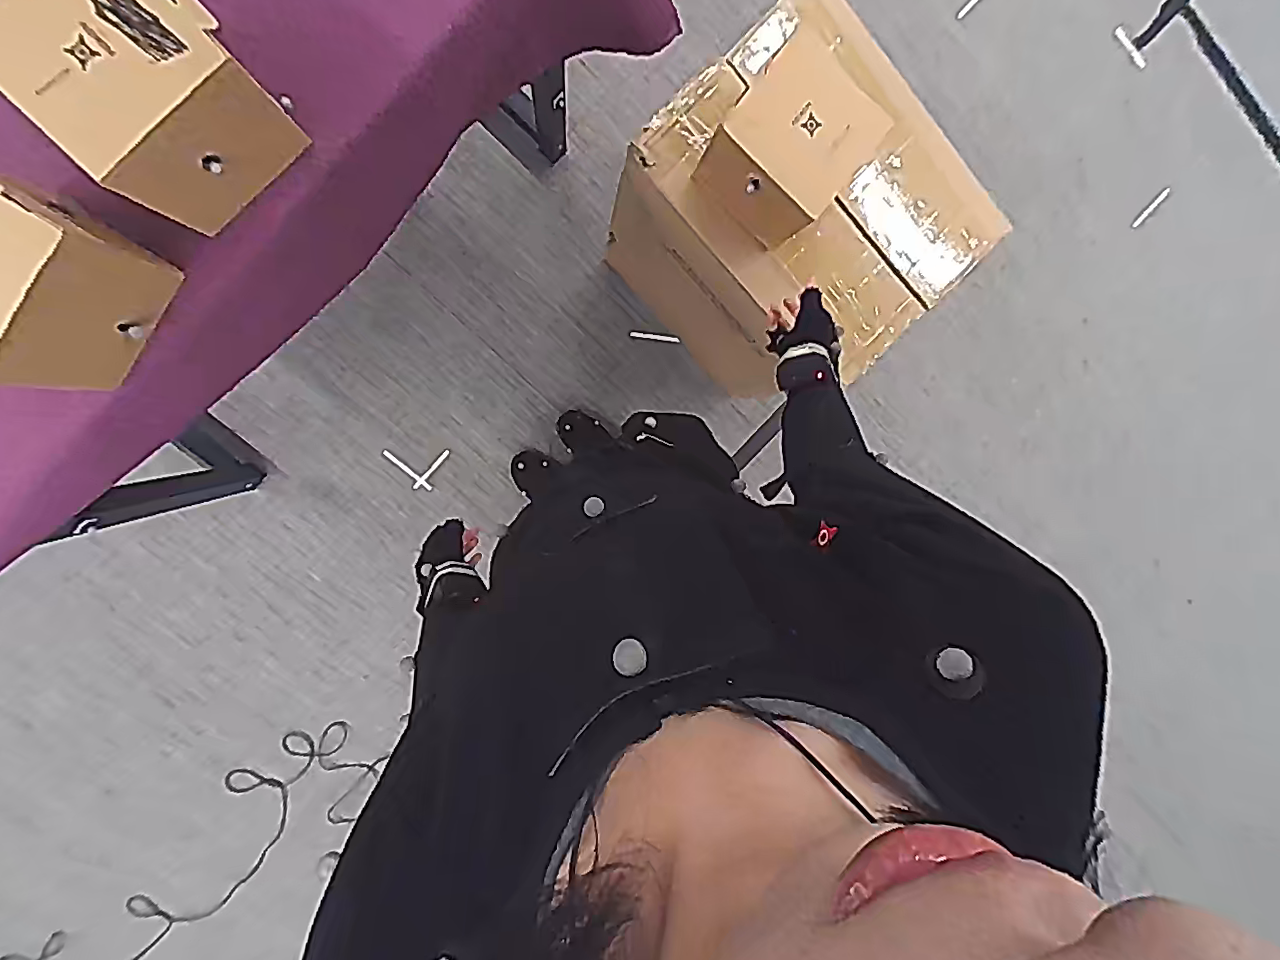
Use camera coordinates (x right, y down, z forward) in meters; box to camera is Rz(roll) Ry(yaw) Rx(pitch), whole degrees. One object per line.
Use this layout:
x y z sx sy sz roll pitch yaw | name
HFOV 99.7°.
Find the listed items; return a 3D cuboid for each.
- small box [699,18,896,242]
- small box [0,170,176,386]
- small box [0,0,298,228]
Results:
0.208 -0.473 0.768 0.179 0.176 0.168 38 94 -11 | small box
-0.662 -0.220 0.580 0.168 0.176 0.179 32 91 -9 | small box
-0.509 -0.411 0.576 0.179 0.176 0.168 -43 99 0 | small box
